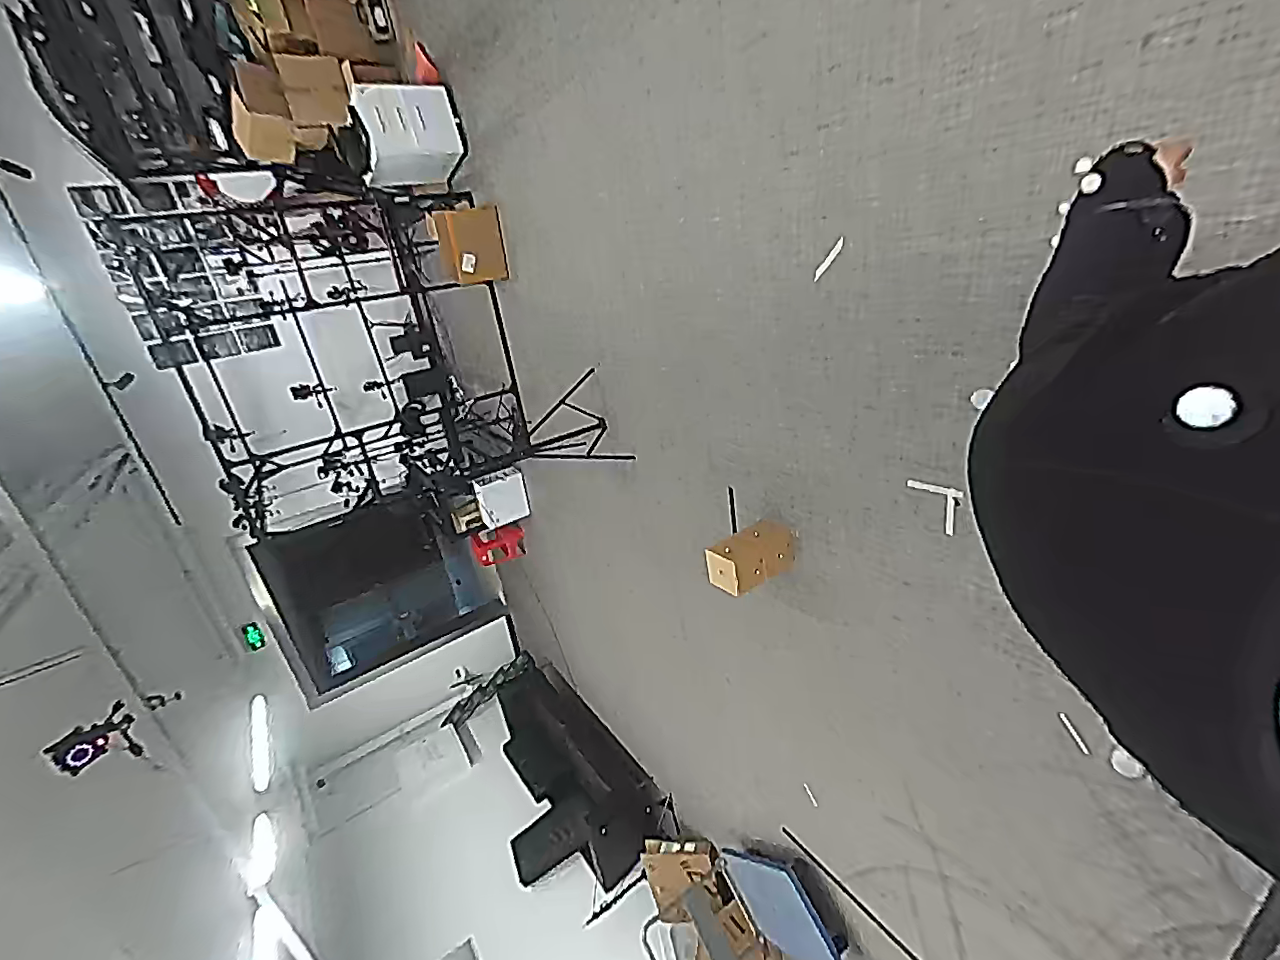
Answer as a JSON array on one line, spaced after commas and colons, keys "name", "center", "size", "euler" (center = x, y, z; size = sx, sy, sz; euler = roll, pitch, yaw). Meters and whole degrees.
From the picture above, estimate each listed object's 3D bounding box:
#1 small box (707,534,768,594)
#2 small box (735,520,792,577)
[{"name": "small box", "center": [0.404, 0.341, 2.240], "size": [0.179, 0.176, 0.168], "euler": [20, 126, 53]}, {"name": "small box", "center": [0.537, 0.286, 2.316], "size": [0.179, 0.176, 0.168], "euler": [19, 125, 55]}]
